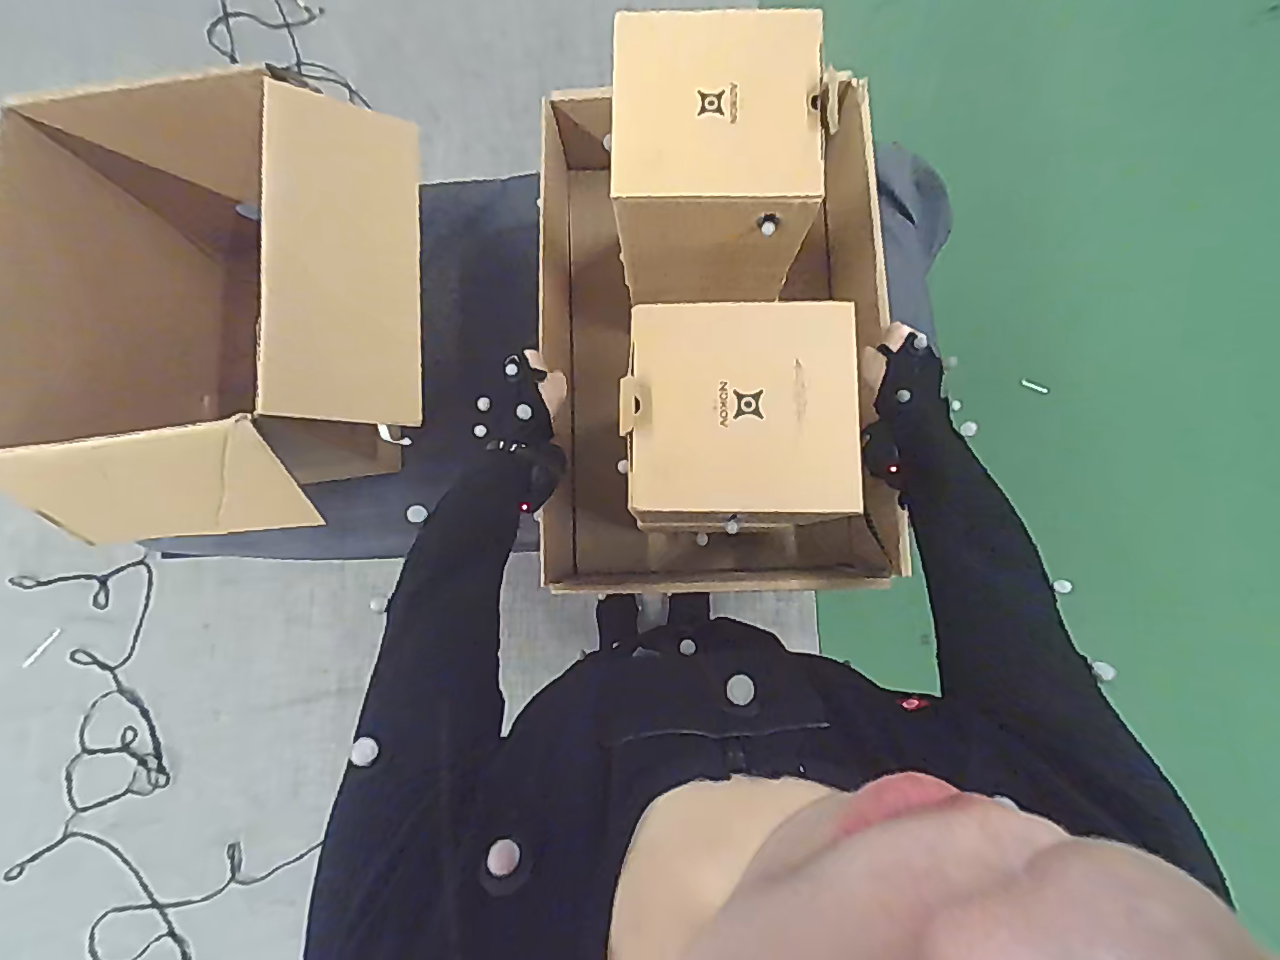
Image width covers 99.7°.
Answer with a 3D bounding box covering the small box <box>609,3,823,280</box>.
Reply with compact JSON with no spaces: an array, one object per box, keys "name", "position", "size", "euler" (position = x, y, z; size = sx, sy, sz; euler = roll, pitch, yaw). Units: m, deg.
[{"name":"small box","position":[0.066,-0.307,0.525],"size":[0.179,0.176,0.168],"euler":[1,86,2]}]
